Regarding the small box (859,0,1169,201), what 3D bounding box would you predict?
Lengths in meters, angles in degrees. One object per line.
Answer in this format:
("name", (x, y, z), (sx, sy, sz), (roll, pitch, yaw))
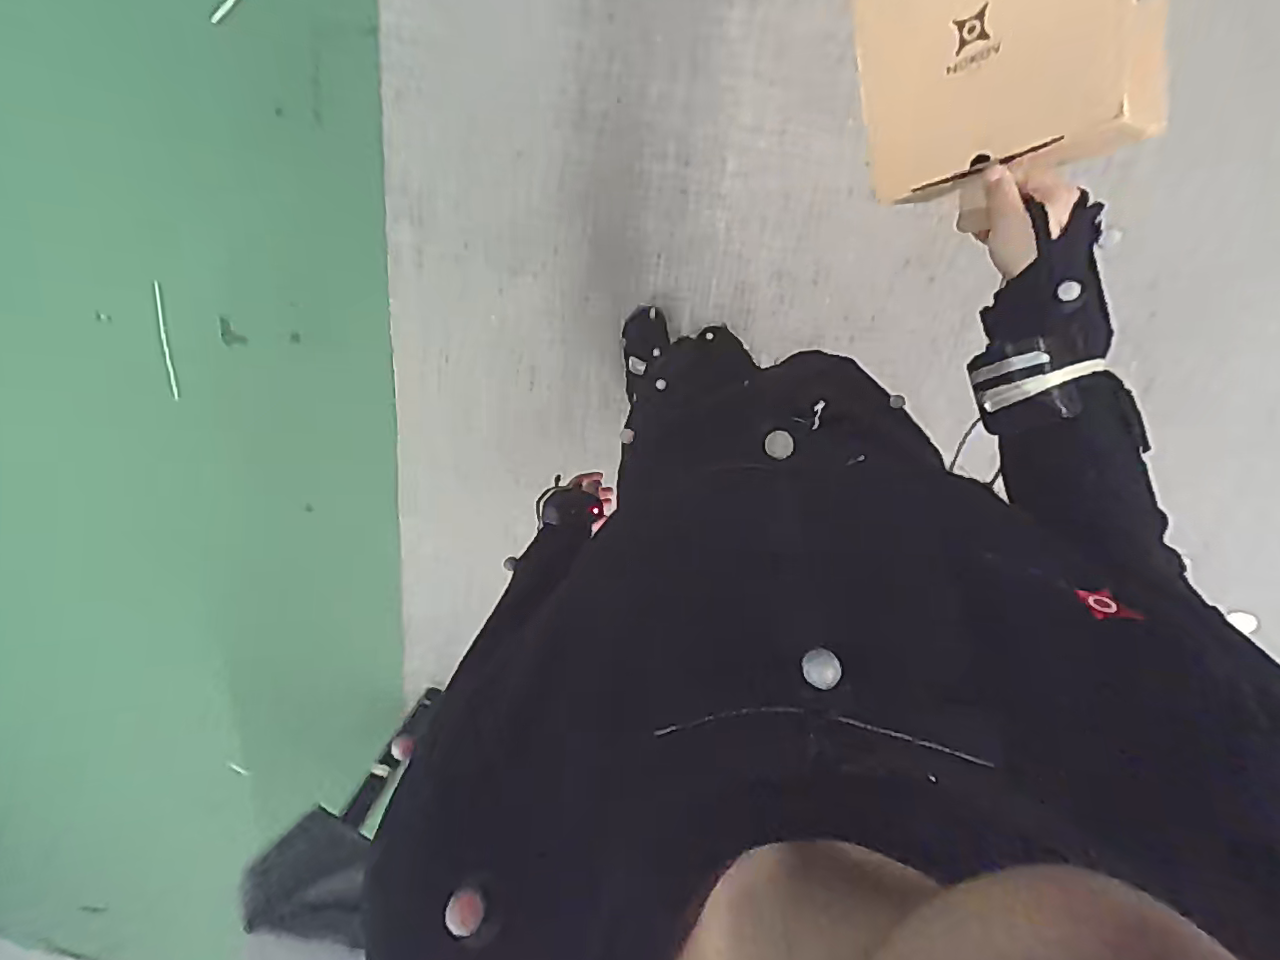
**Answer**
("small box", (0.298, -0.340, 0.433), (0.168, 0.176, 0.179), (3, 112, 49))
